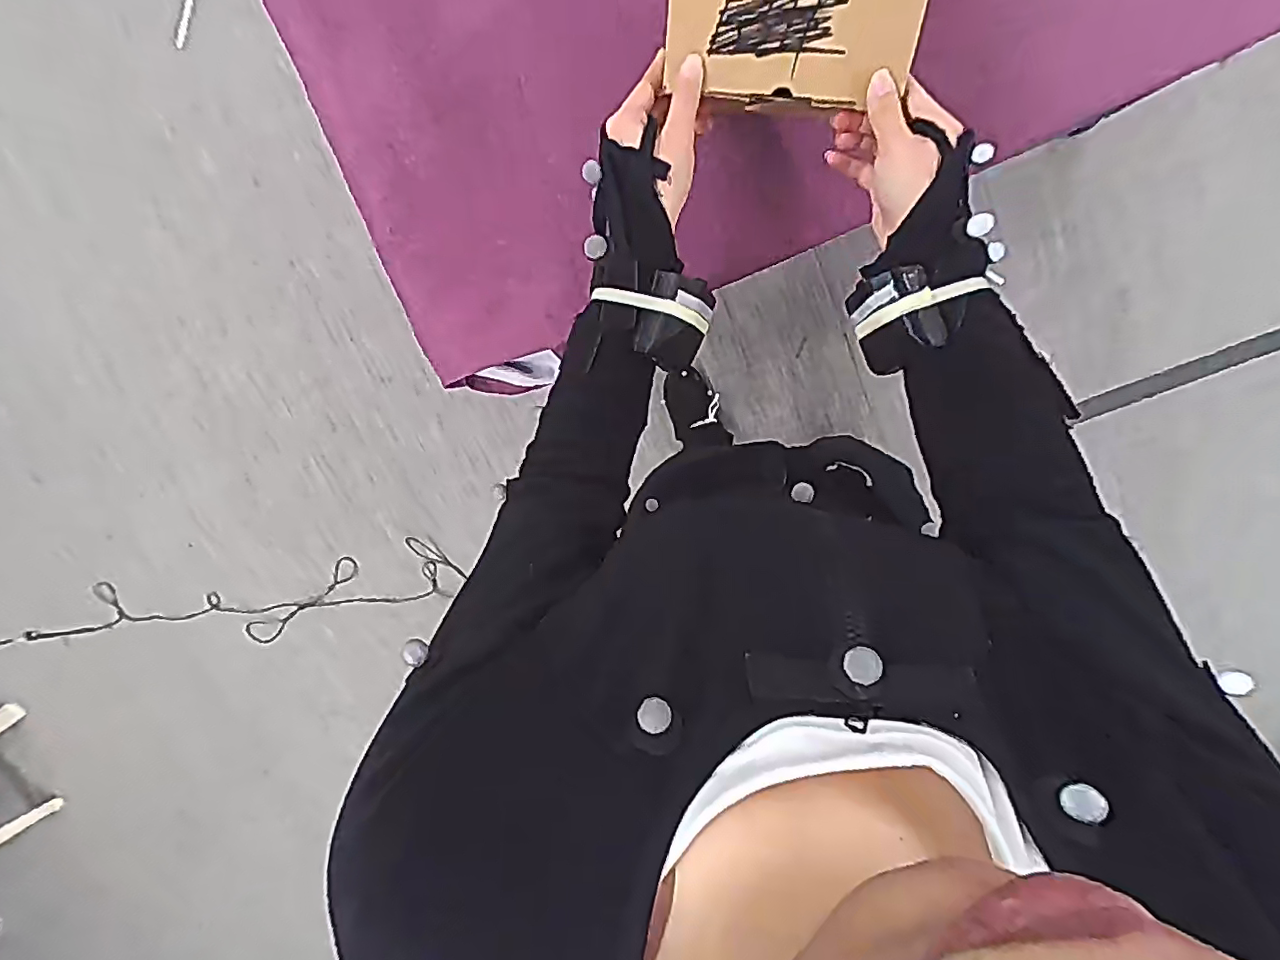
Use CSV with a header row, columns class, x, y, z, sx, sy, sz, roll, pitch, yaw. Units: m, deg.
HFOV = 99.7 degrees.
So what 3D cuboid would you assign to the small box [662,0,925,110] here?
class,x,y,z,sx,sy,sz,roll,pitch,yaw
small box,0.107,-0.383,0.393,0.168,0.176,0.179,5,121,0
